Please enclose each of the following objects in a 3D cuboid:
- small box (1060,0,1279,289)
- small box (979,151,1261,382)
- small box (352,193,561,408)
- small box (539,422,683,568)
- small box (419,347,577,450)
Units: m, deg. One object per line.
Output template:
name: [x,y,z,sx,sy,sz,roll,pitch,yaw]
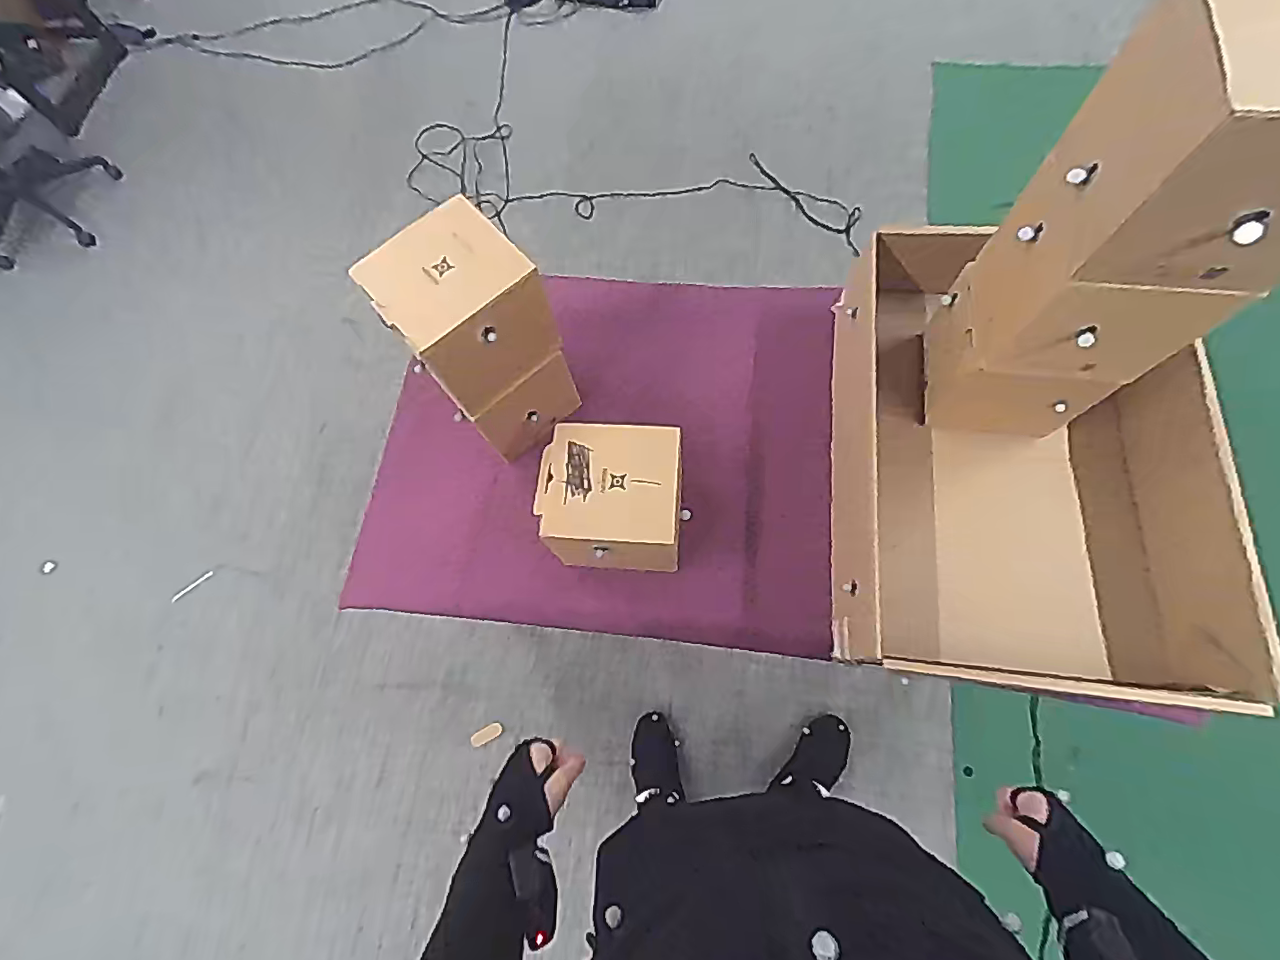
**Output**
small box: [0.488,-0.281,0.446,0.168,0.176,0.179,7,73,8]
small box: [0.503,-0.226,0.600,0.168,0.176,0.179,7,72,9]
small box: [-0.230,-0.227,0.722,0.179,0.176,0.168,-40,73,-9]
small box: [-0.030,0.028,0.785,0.179,0.176,0.168,3,70,6]
small box: [-0.223,-0.169,0.874,0.168,0.176,0.179,-40,72,-10]
